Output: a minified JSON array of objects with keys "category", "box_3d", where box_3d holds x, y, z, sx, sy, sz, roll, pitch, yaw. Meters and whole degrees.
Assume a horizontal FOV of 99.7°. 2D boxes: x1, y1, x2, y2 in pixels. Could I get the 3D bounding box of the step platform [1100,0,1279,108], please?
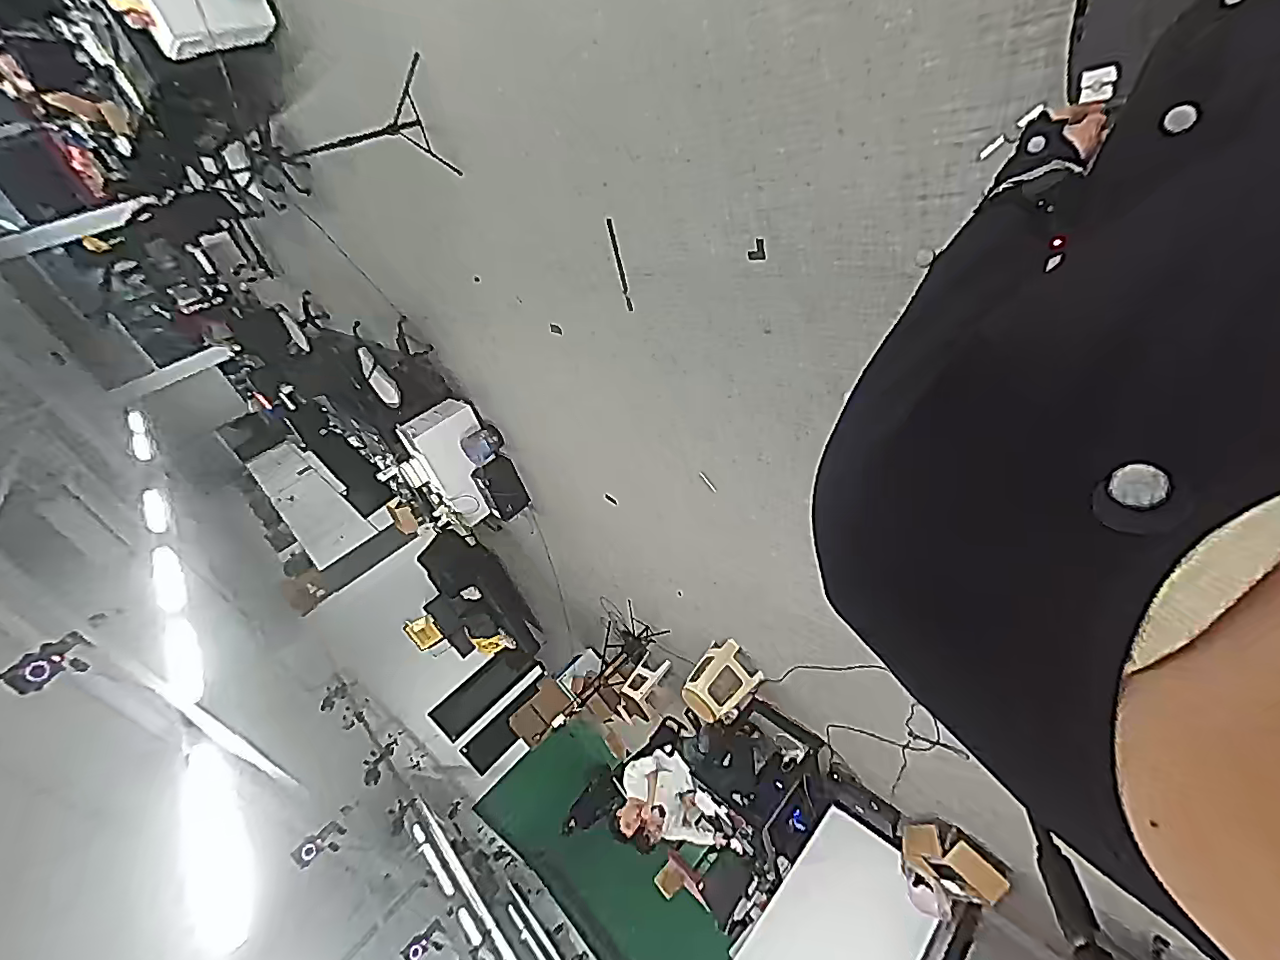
[{"category":"step platform","box_3d":[1.054,-0.695,0.707,0.684,0.204,0.286,25,142,39]}]
